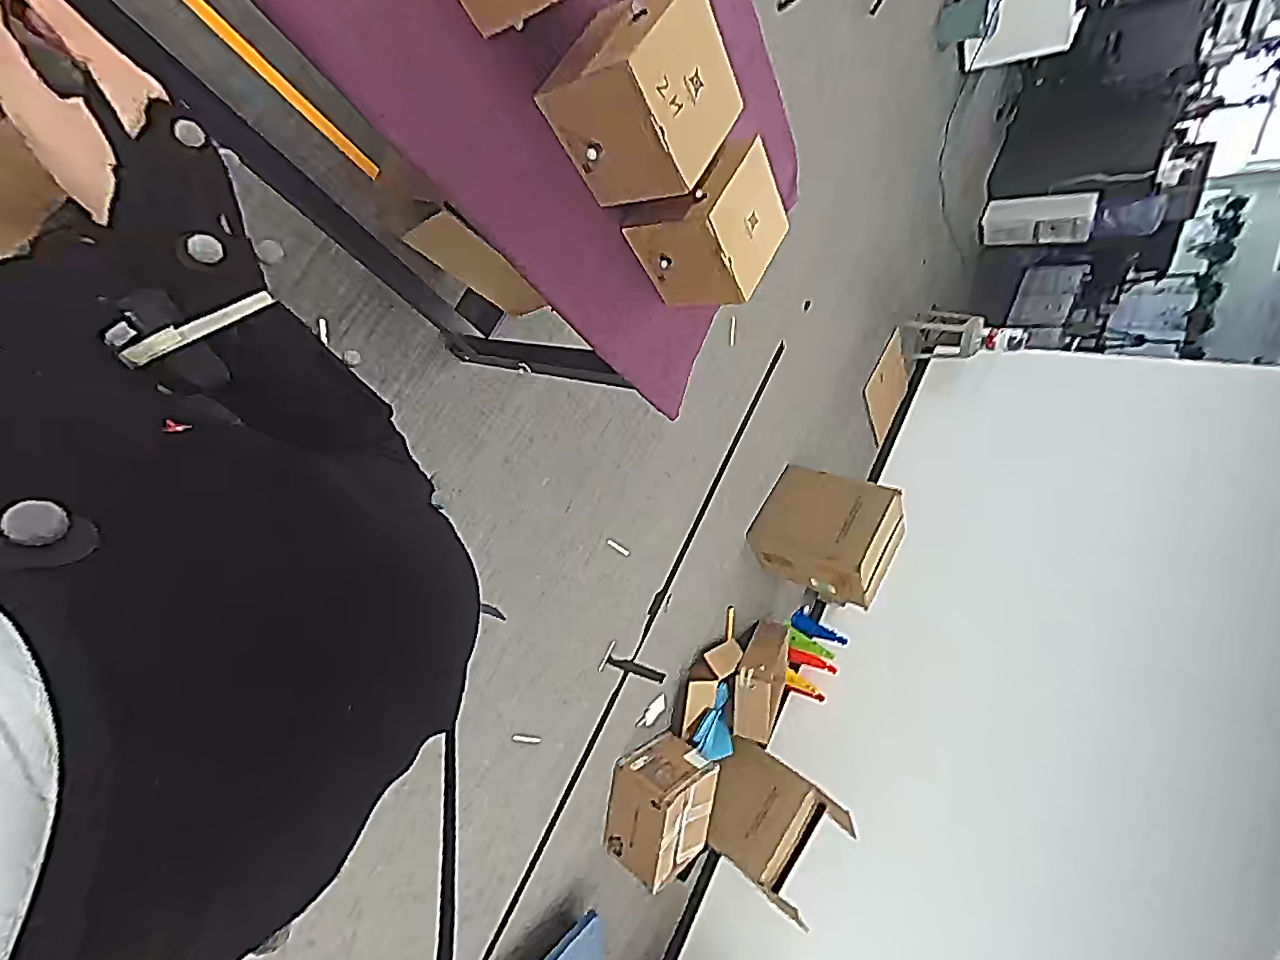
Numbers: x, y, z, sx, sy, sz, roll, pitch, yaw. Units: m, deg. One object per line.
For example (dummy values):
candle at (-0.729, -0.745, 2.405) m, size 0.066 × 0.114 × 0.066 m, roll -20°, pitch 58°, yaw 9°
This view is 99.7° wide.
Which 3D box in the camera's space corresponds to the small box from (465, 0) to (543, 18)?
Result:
small box at (-0.122, -0.603, 0.529) m, size 0.168 × 0.176 × 0.179 m, roll -60°, pitch 138°, yaw -14°

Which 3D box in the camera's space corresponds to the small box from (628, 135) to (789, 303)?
small box at (0.110, -0.409, 0.869) m, size 0.179 × 0.176 × 0.168 m, roll -60°, pitch 139°, yaw -15°
